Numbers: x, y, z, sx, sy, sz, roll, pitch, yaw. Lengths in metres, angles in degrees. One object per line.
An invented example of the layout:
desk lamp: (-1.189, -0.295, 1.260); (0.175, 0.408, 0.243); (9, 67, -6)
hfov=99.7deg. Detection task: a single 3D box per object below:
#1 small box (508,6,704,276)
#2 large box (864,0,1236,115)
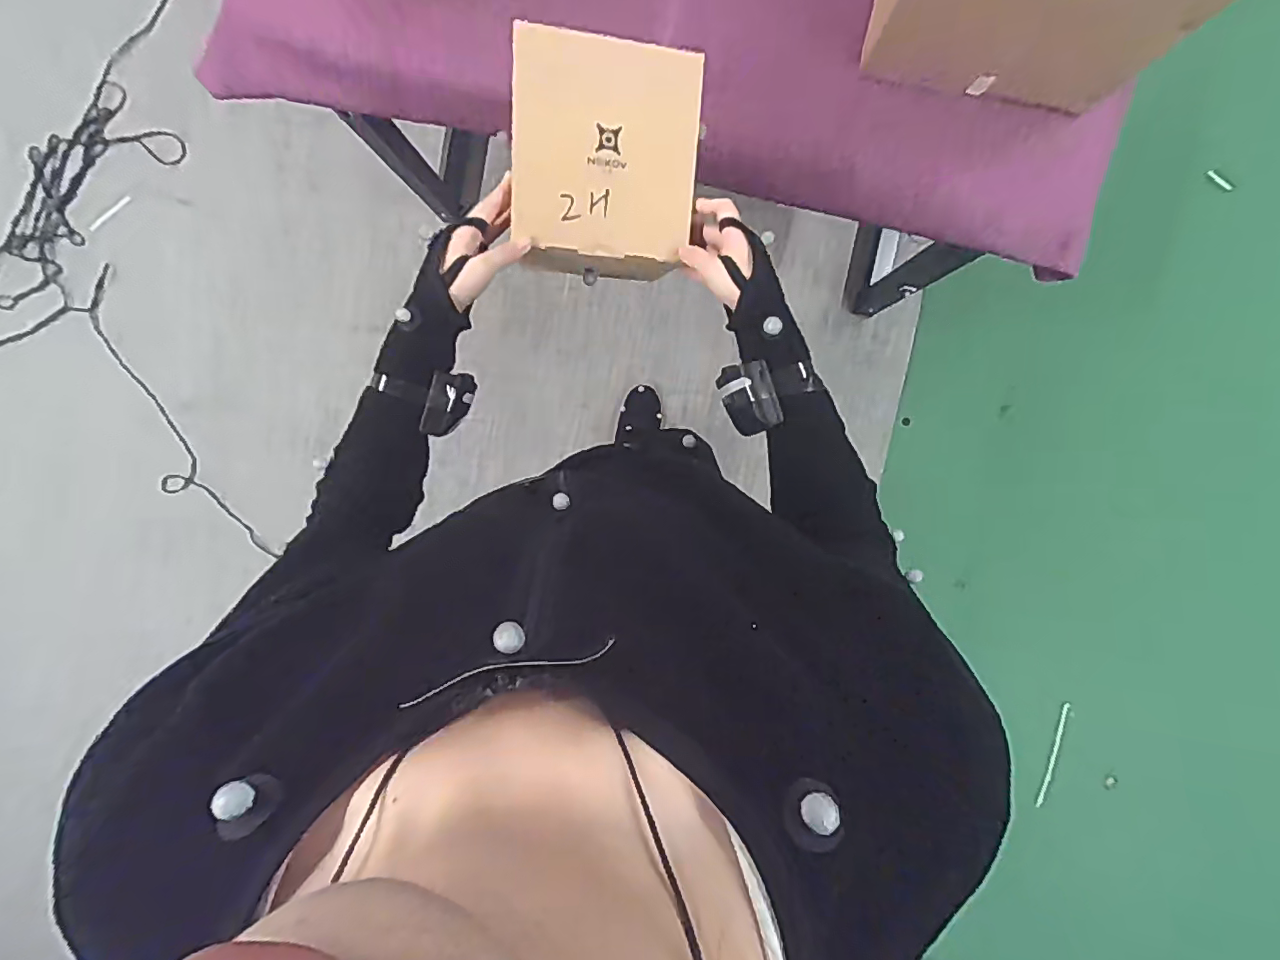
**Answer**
small box: (-0.044, -0.318, 0.550); (0.168, 0.176, 0.179); (2, 103, -10)
large box: (0.475, -0.695, 0.561); (0.320, 0.320, 0.408); (11, 95, 3)
